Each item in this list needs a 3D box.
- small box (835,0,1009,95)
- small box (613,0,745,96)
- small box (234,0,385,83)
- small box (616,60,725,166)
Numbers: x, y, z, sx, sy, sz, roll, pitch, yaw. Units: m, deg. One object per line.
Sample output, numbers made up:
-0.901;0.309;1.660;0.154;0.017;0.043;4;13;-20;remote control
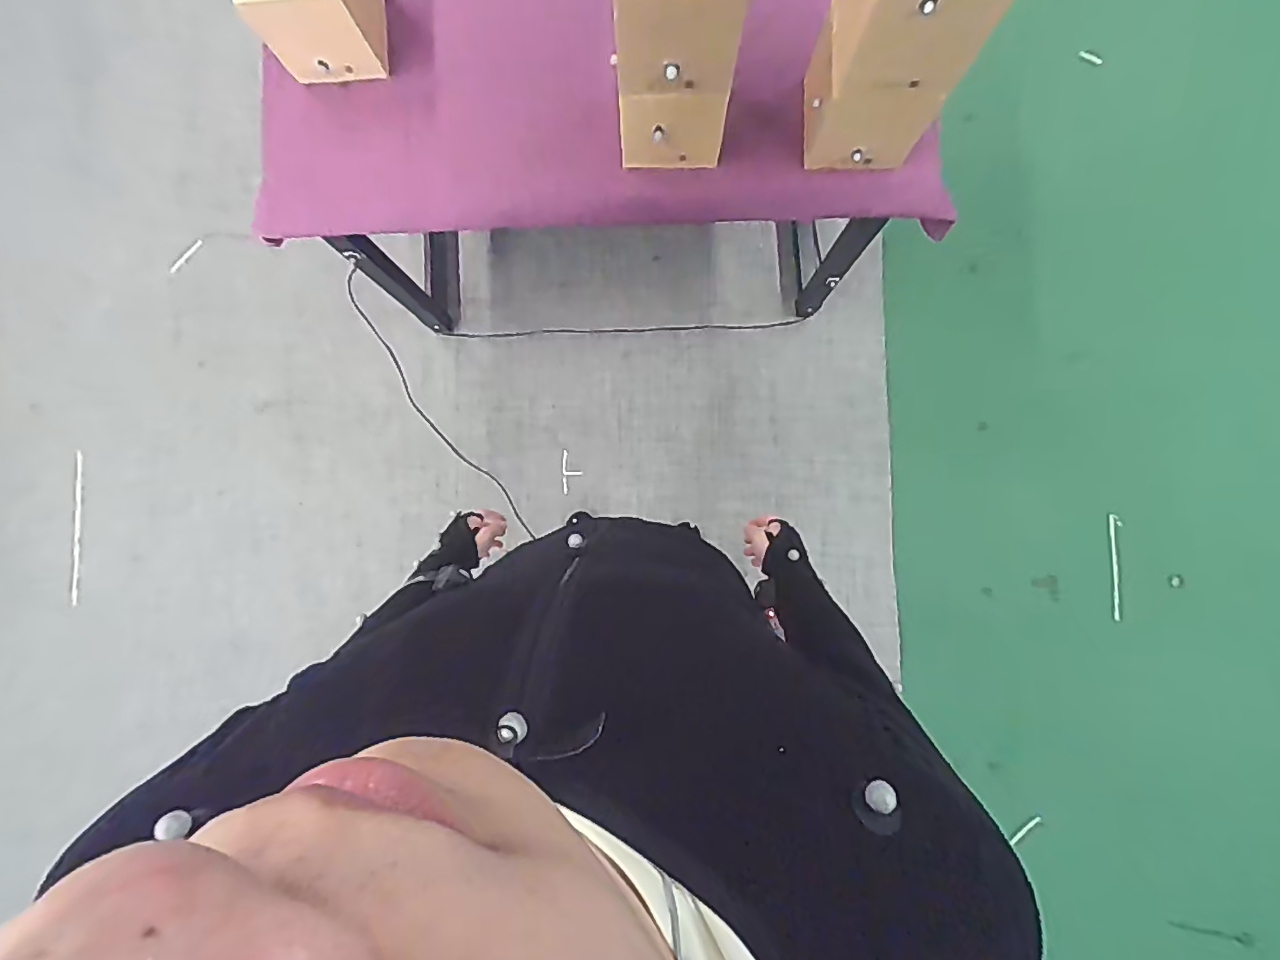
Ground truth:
0.366;-0.655;0.713;0.168;0.176;0.179;2;85;3;small box
0.049;-0.661;0.723;0.168;0.176;0.179;1;86;2;small box
-0.549;-0.816;0.906;0.168;0.176;0.179;-4;87;1;small box
0.050;-0.646;0.887;0.168;0.176;0.179;0;85;1;small box
